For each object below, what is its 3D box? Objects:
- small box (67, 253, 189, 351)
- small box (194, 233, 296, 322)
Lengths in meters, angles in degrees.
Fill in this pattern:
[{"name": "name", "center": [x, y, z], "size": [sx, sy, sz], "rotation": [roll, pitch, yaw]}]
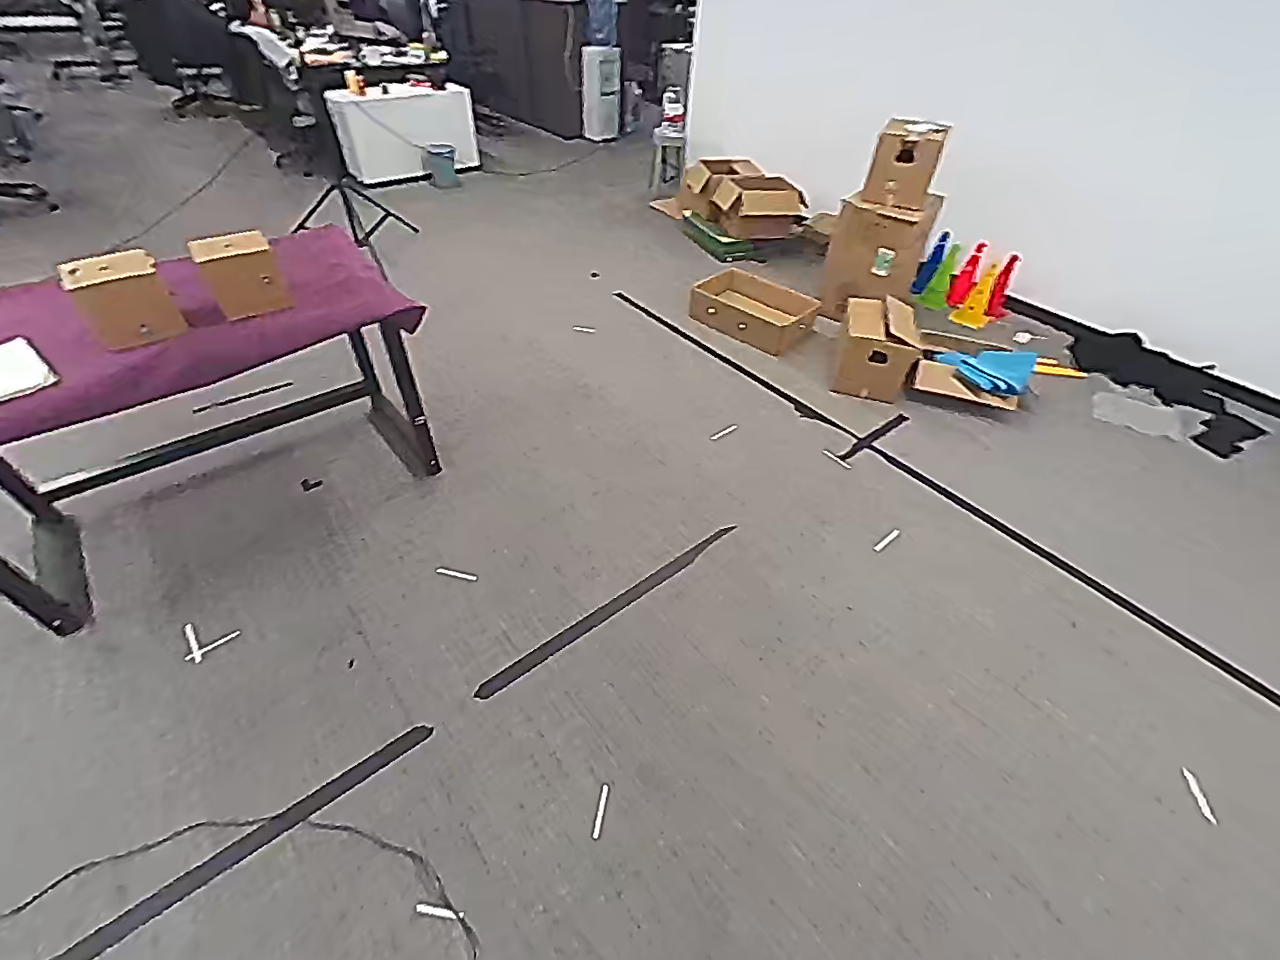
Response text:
[{"name": "small box", "center": [-1.304, -0.458, 1.391], "size": [0.179, 0.176, 0.168], "rotation": [-28, 52, -29]}, {"name": "small box", "center": [-1.100, -0.569, 1.519], "size": [0.179, 0.176, 0.168], "rotation": [-27, 50, -25]}]
